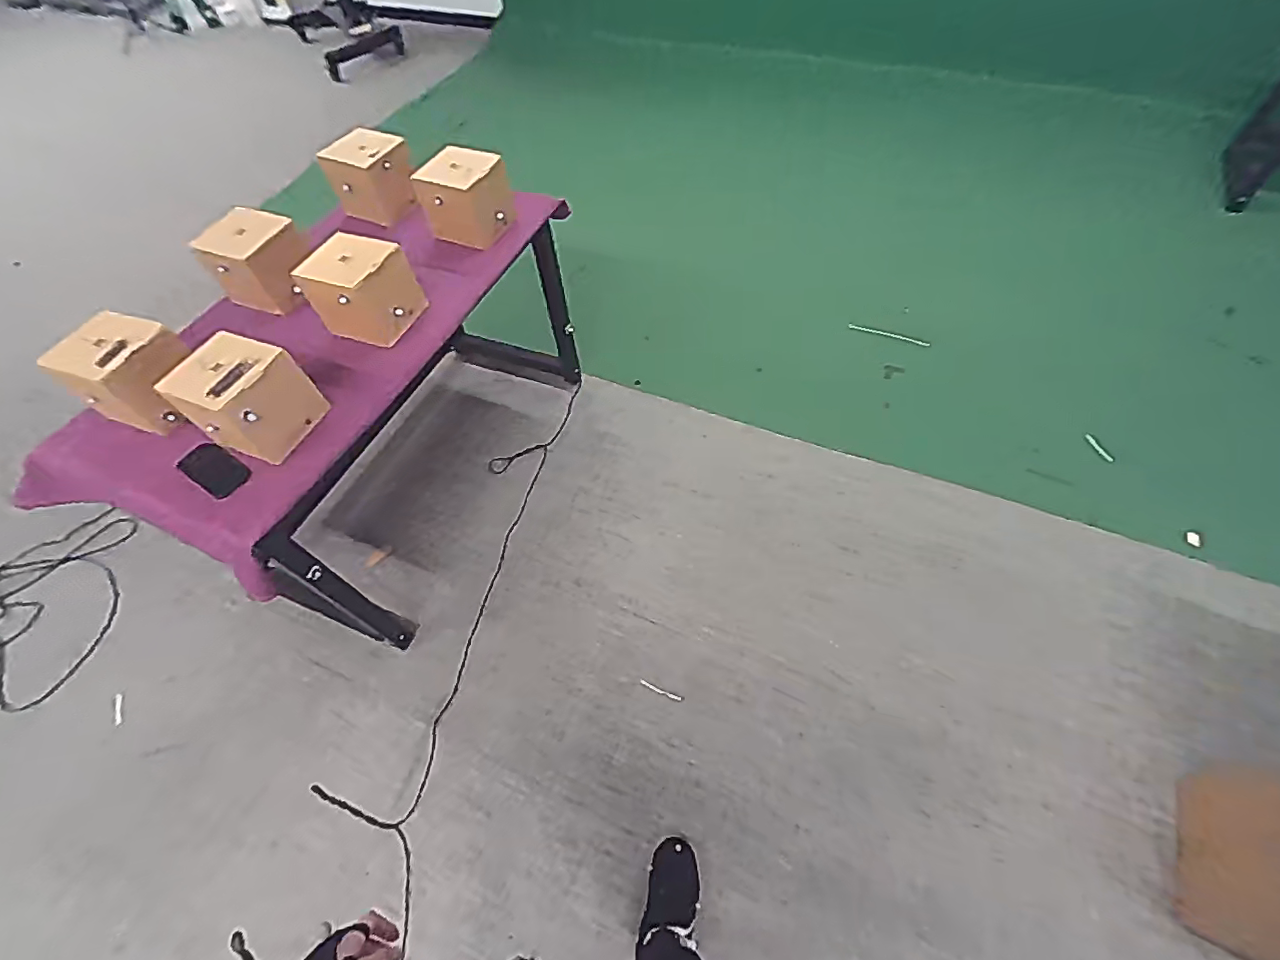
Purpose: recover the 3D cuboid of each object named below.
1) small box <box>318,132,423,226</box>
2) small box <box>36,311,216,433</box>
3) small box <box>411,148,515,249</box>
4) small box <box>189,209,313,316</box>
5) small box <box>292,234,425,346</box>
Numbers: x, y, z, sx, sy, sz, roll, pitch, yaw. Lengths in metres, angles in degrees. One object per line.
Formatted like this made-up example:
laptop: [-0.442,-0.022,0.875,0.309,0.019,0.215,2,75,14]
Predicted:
small box: [-0.746,-0.843,1.521,0.179,0.176,0.168,20,61,17]
small box: [-1.053,-0.220,1.128,0.179,0.176,0.168,14,58,14]
small box: [-0.459,-0.741,1.431,0.179,0.176,0.168,20,62,16]
small box: [-0.928,-0.530,1.327,0.179,0.176,0.168,18,60,14]
small box: [-0.637,-0.433,1.244,0.179,0.176,0.168,16,59,14]
